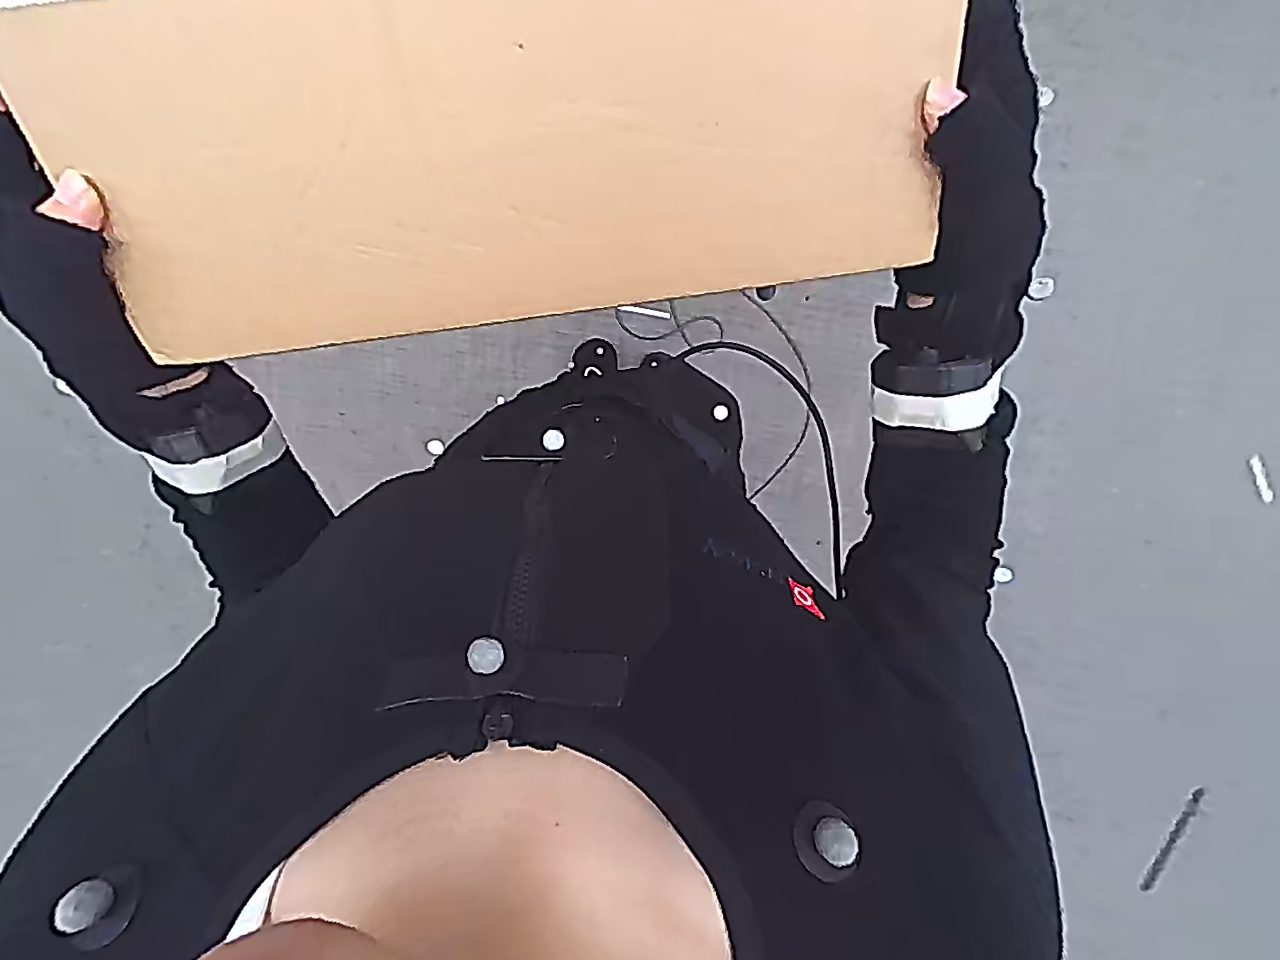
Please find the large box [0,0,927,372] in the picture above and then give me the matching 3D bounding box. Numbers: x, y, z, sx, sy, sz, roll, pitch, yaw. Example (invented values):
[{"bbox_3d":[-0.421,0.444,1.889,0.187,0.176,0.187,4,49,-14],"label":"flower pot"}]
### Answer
[{"bbox_3d":[-0.081,-0.291,0.351,0.408,0.320,0.320,-8,117,2],"label":"large box"}]
